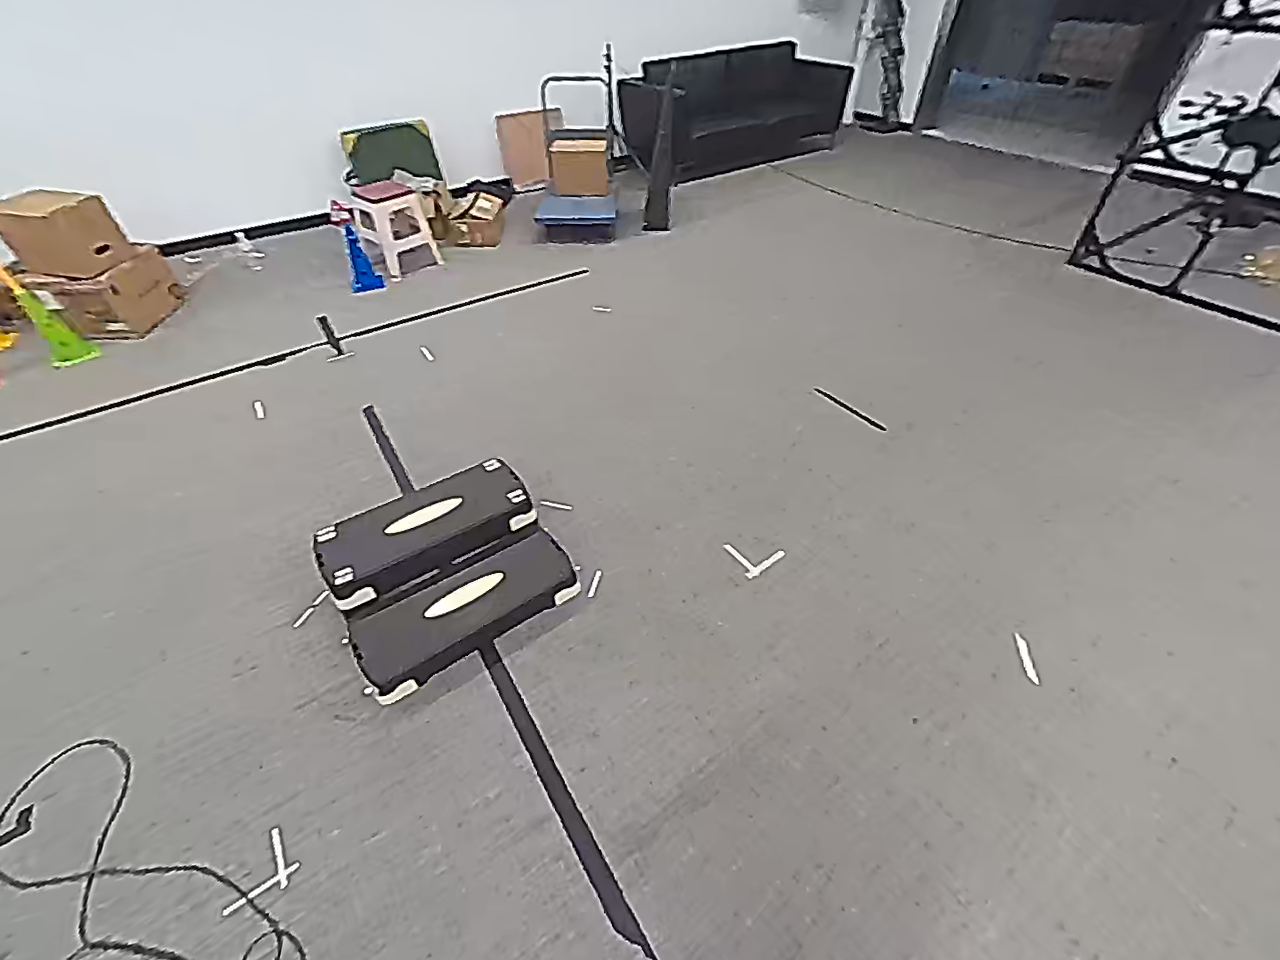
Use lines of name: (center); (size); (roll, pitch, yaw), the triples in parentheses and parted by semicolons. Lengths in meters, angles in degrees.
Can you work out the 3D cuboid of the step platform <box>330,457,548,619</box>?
step platform: (-0.669, 0.174, 1.849); (0.684, 0.204, 0.286); (-26, 49, -25)
